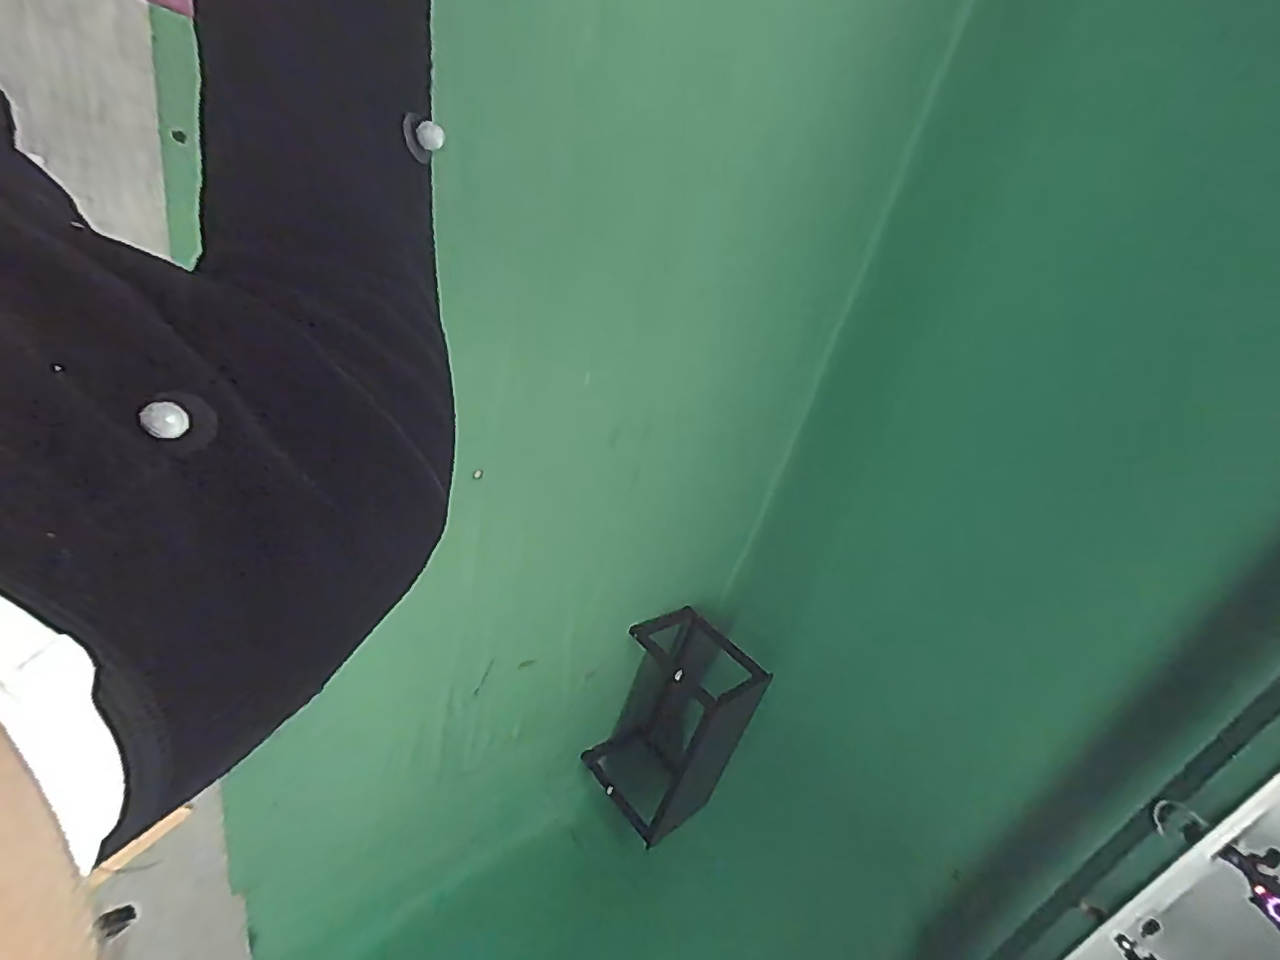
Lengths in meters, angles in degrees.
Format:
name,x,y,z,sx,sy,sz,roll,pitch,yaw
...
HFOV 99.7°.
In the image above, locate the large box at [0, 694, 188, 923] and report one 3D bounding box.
name,x,y,z,sx,sy,sz,roll,pitch,yaw
large box,-1.570,0.880,1.466,0.408,0.320,0.320,-39,142,-21
